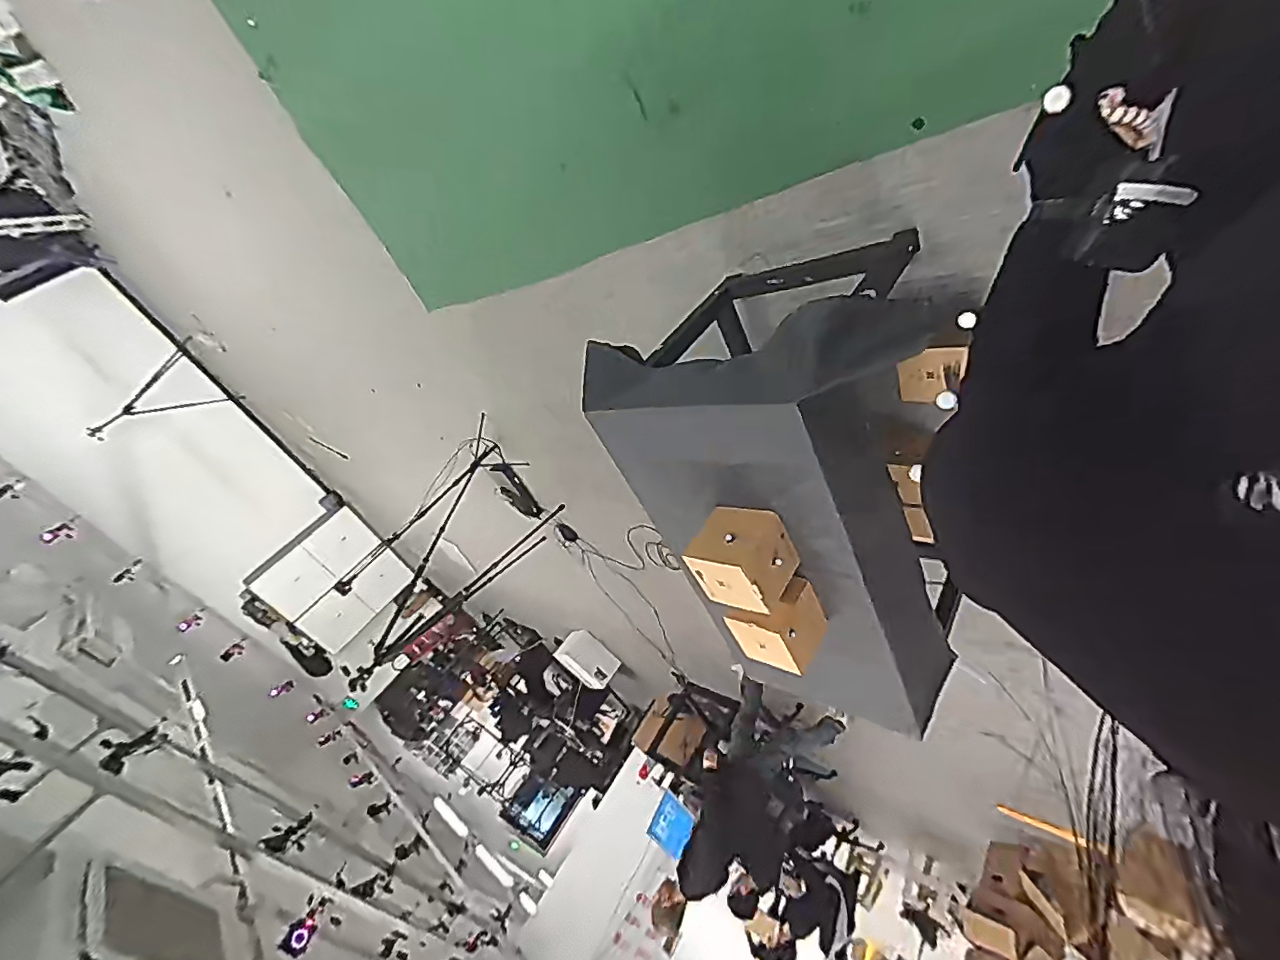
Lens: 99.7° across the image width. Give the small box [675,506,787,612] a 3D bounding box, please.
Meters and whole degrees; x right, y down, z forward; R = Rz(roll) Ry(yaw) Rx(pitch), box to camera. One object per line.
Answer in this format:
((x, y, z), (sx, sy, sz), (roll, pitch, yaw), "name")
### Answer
((0.218, 0.175, 1.247), (0.179, 0.176, 0.168), (2, 134, 46), "small box")
